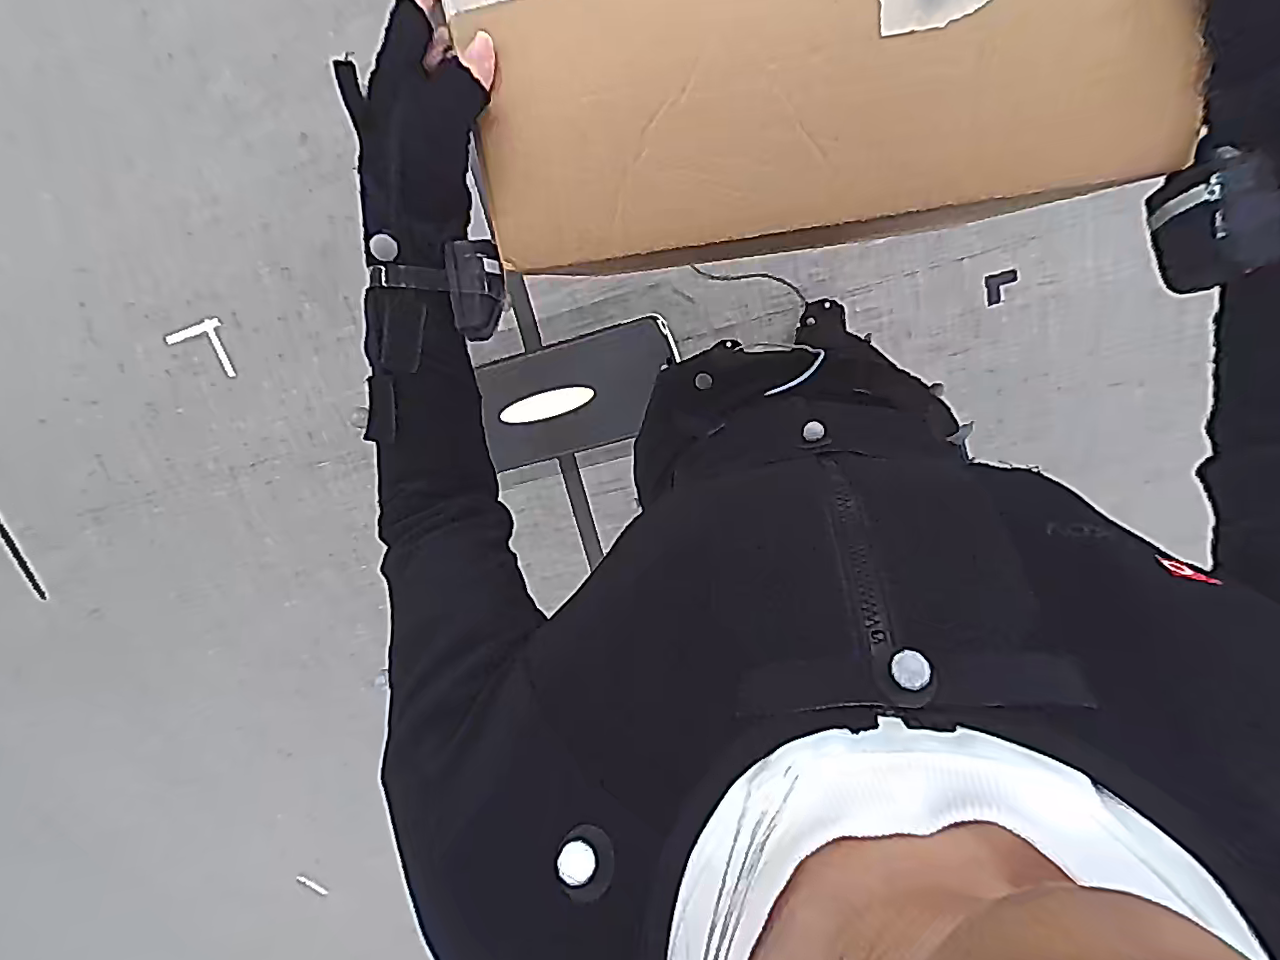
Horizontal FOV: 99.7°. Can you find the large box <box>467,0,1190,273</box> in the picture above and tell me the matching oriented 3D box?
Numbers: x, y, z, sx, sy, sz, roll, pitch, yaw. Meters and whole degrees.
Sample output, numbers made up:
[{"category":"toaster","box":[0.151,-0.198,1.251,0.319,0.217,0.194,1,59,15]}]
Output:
[{"category":"large box","box":[0.104,-0.363,0.435,0.408,0.320,0.320,-5,110,9]}]
